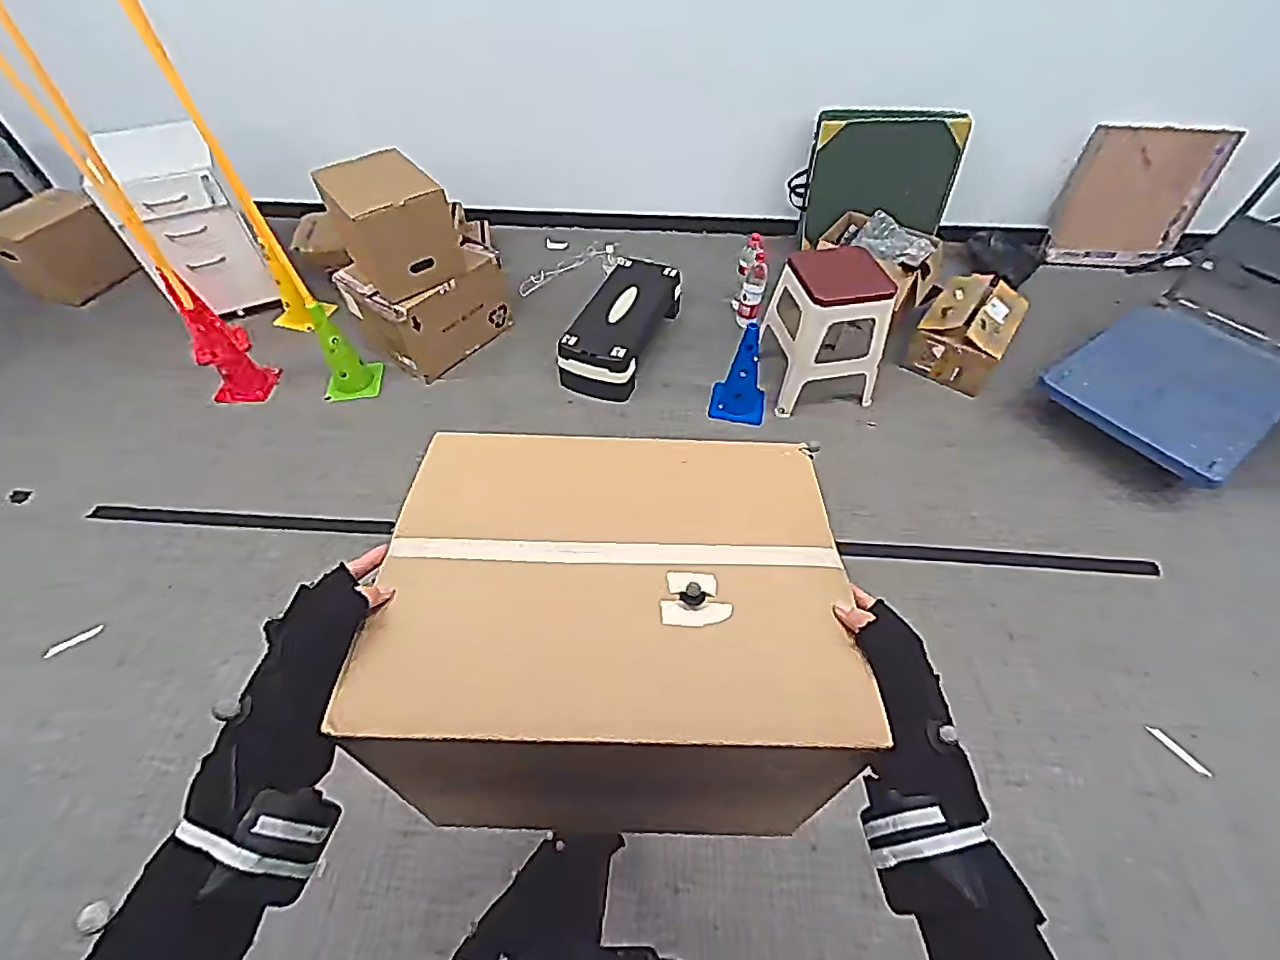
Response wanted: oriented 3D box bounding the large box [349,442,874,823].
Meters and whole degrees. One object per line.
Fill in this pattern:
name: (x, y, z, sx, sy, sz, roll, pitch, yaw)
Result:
large box: (-0.025, 0.175, 0.611, 0.408, 0.320, 0.320, 2, 46, -1)
